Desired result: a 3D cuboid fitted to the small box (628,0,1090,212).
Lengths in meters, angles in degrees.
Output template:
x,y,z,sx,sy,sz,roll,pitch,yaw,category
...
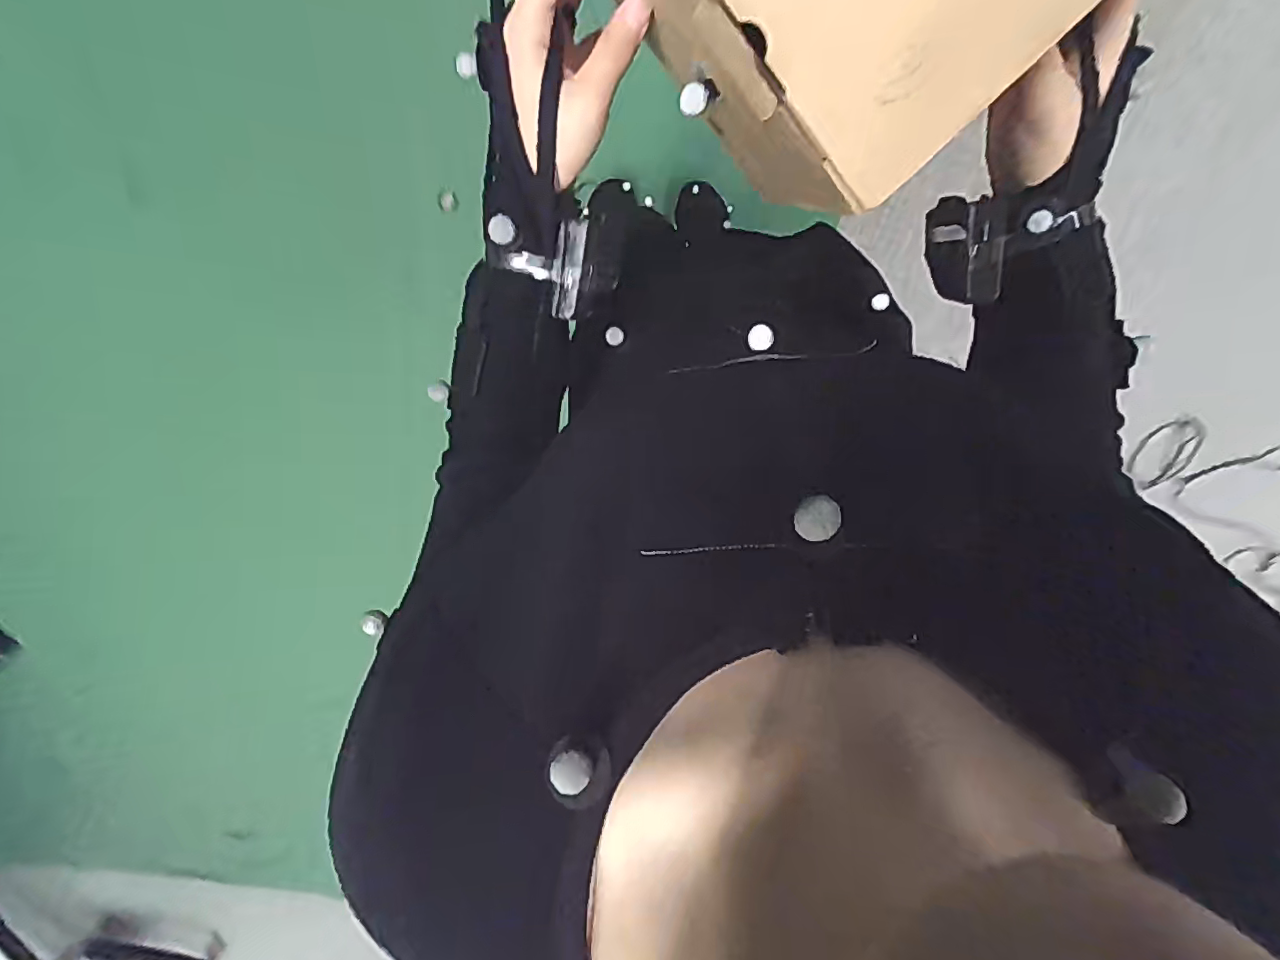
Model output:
x,y,z,sx,sy,sz,roll,pitch,yaw,category
0.097,-0.260,0.257,0.179,0.176,0.168,-40,114,19,small box
